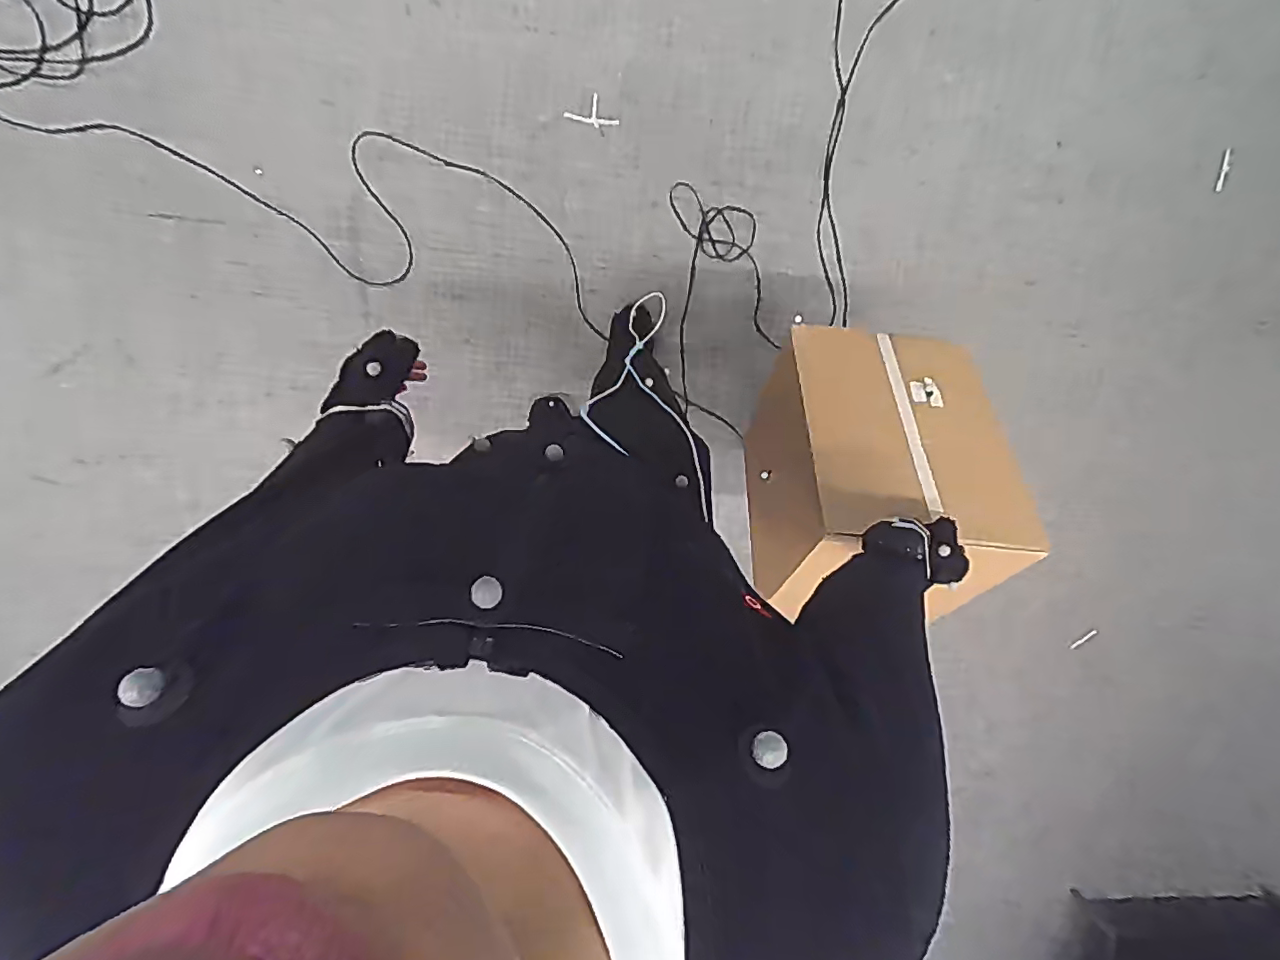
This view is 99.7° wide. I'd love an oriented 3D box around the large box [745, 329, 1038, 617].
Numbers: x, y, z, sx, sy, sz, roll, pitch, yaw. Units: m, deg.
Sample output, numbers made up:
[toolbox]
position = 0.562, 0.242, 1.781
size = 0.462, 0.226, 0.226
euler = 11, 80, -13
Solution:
[large box]
position = 0.385, -0.003, 0.958
size = 0.320, 0.408, 0.320
euler = 6, 146, -5
